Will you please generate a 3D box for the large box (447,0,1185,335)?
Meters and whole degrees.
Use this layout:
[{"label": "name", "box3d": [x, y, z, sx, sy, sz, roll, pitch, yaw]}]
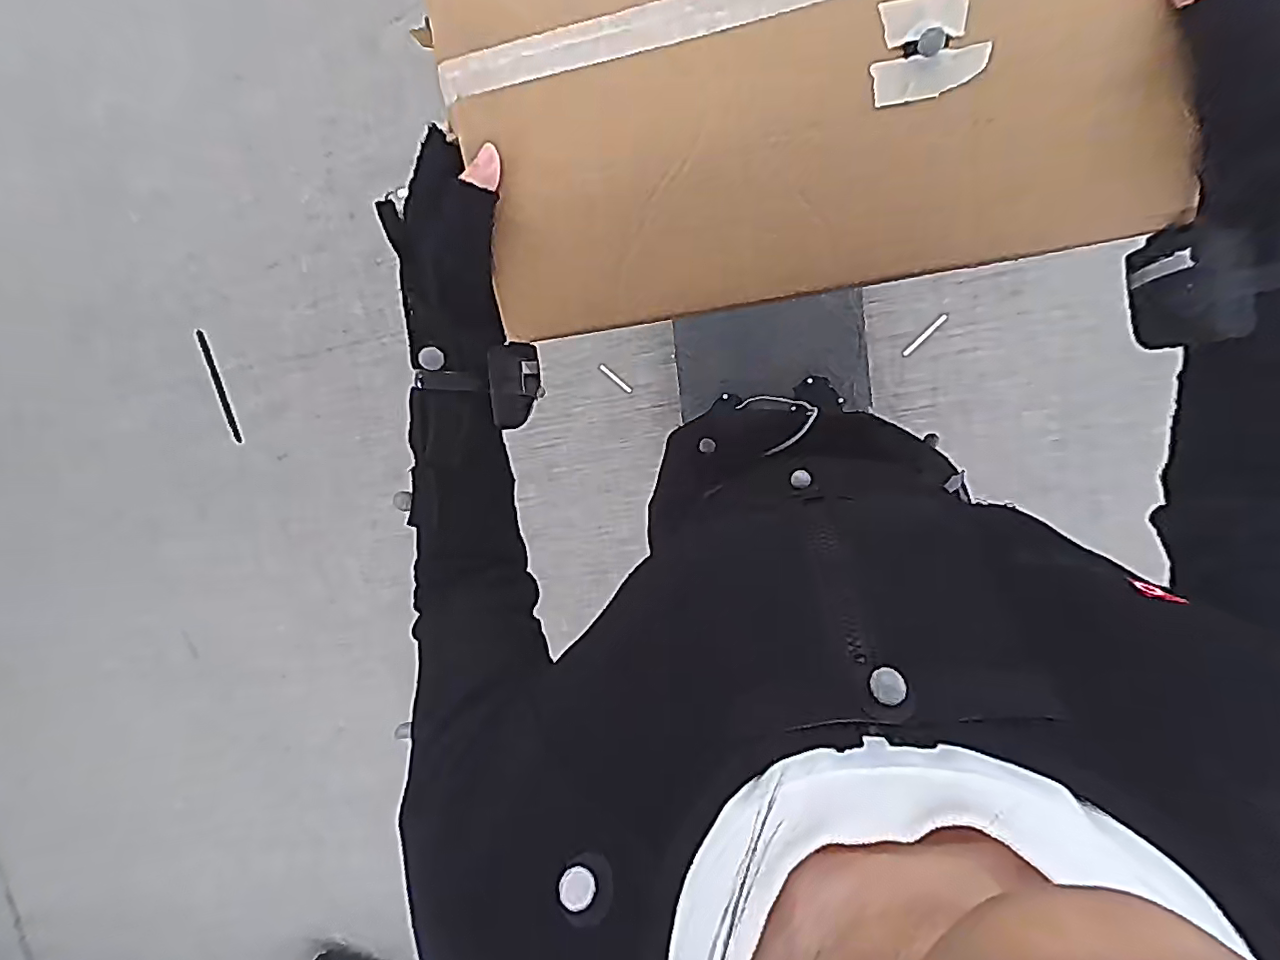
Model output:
[{"label": "large box", "box3d": [0.101, -0.316, 0.446, 0.408, 0.320, 0.320, -8, 107, 10]}]
